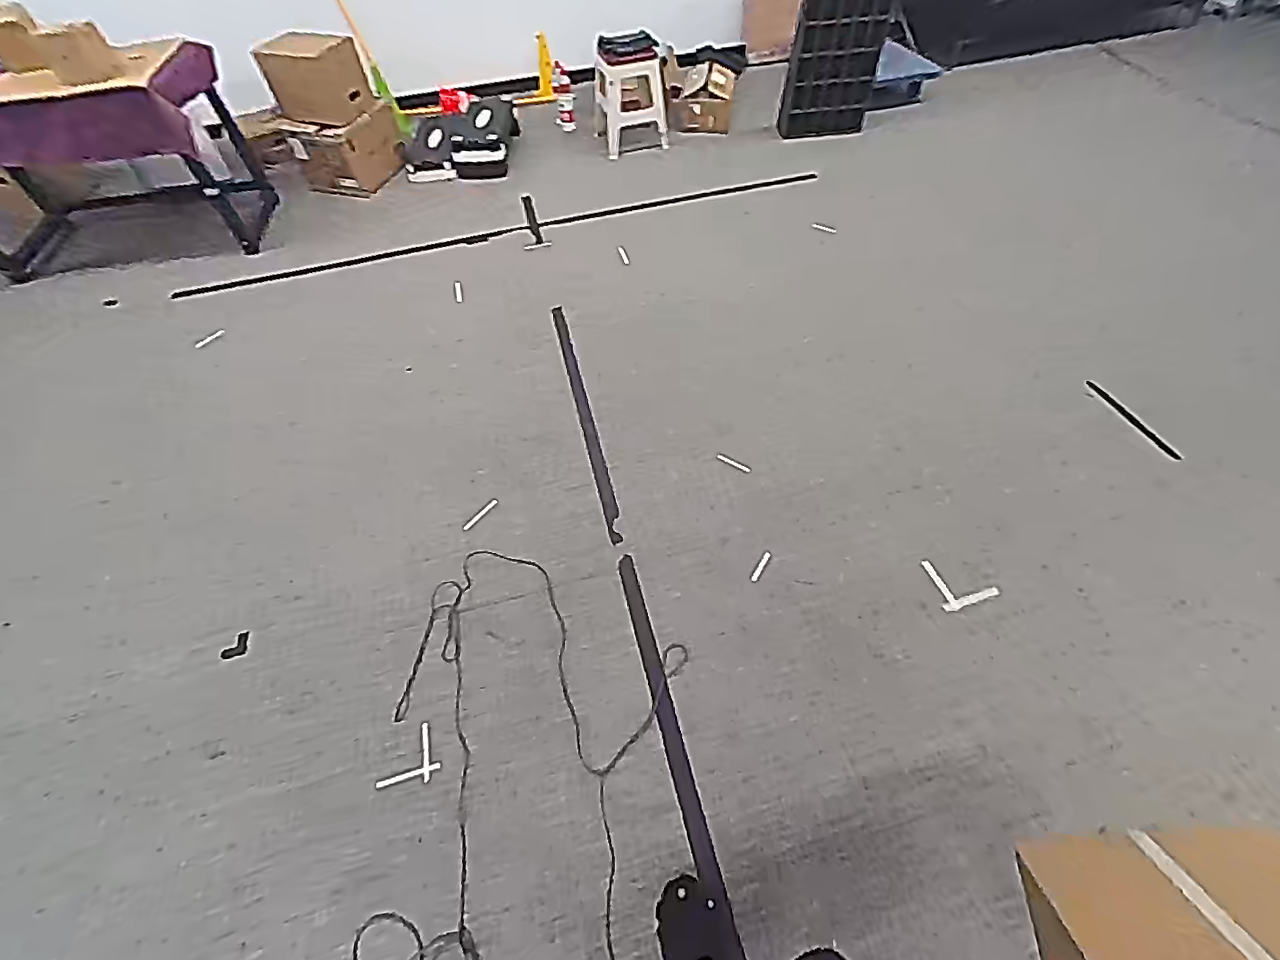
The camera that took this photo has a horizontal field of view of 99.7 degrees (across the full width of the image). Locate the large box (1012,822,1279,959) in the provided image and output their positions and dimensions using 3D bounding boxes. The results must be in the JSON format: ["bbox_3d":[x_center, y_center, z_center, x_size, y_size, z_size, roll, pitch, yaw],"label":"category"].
[{"bbox_3d":[0.681,0.651,0.570,0.320,0.408,0.320,-14,91,12],"label":"large box"}]
